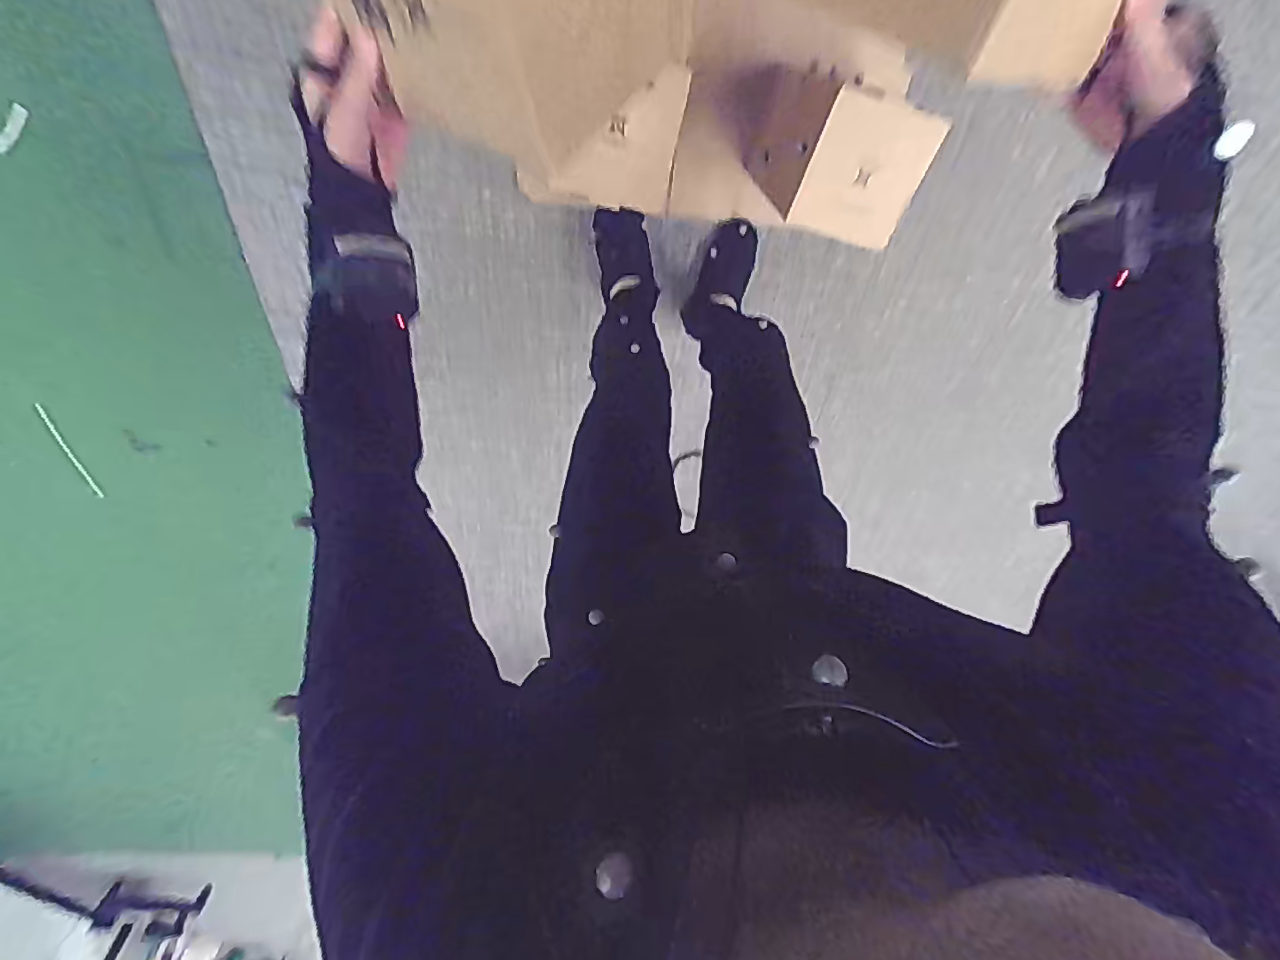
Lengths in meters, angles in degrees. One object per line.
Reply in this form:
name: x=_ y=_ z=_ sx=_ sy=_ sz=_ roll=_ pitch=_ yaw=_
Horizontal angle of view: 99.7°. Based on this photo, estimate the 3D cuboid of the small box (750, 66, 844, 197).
small box: x=0.301 y=-0.588 z=0.938 sx=0.168 sy=0.176 sz=0.179 roll=9 pitch=129 yaw=-10

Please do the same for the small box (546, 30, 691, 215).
small box: x=-0.035 y=-0.514 z=0.777 sx=0.168 sy=0.176 sz=0.179 roll=9 pitch=129 yaw=-11

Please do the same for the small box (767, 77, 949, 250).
small box: x=0.309 y=-0.480 z=0.816 sx=0.168 sy=0.176 sz=0.179 roll=11 pitch=129 yaw=-11
